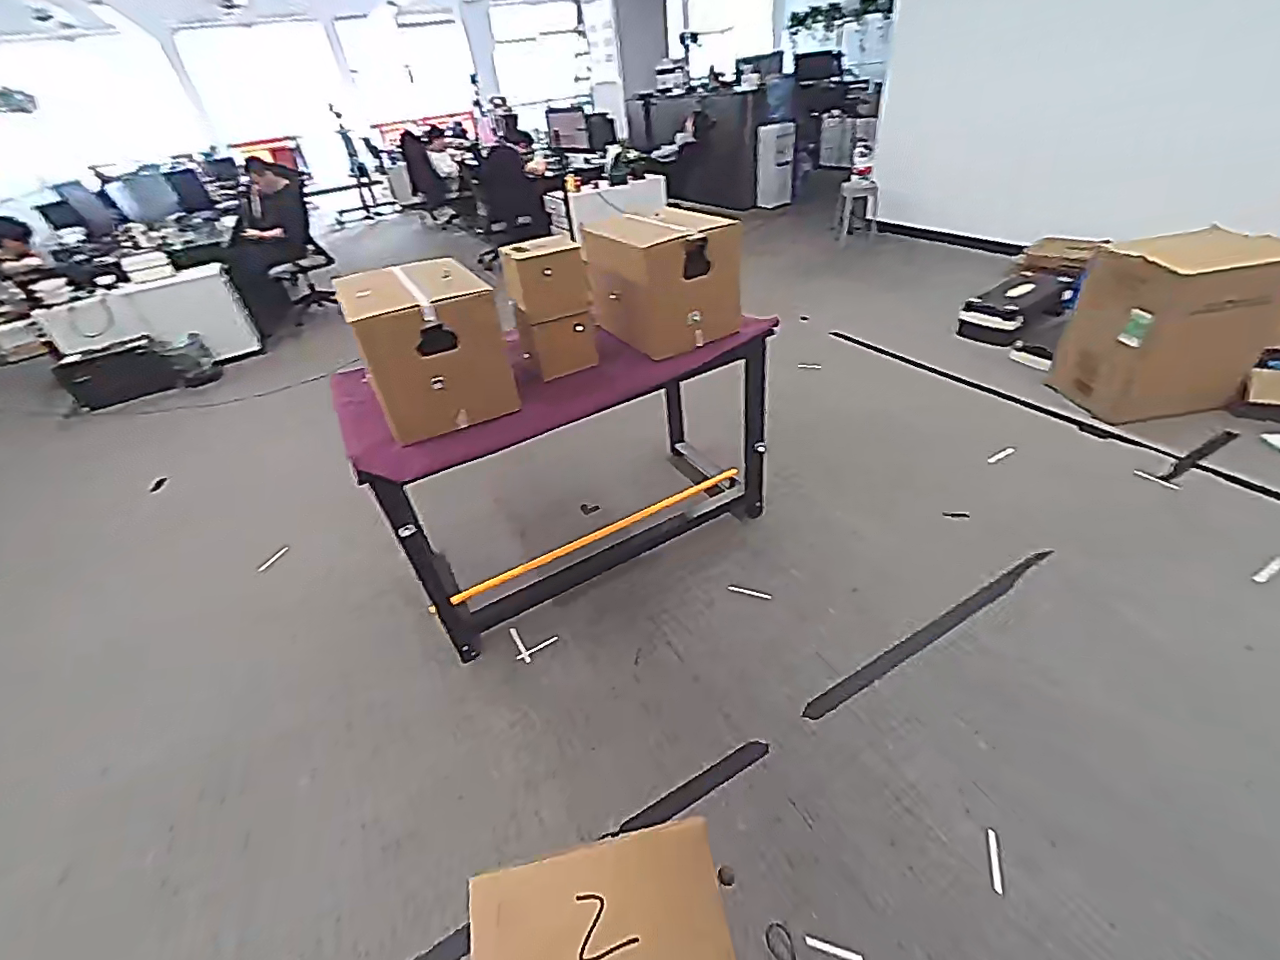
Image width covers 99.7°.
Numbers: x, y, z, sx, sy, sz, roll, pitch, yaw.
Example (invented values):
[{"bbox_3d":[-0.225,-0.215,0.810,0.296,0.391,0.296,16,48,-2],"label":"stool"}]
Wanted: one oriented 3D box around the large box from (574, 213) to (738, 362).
[{"bbox_3d":[0.049,-0.594,1.634,0.320,0.320,0.408,-24,38,-21],"label":"large box"}]
